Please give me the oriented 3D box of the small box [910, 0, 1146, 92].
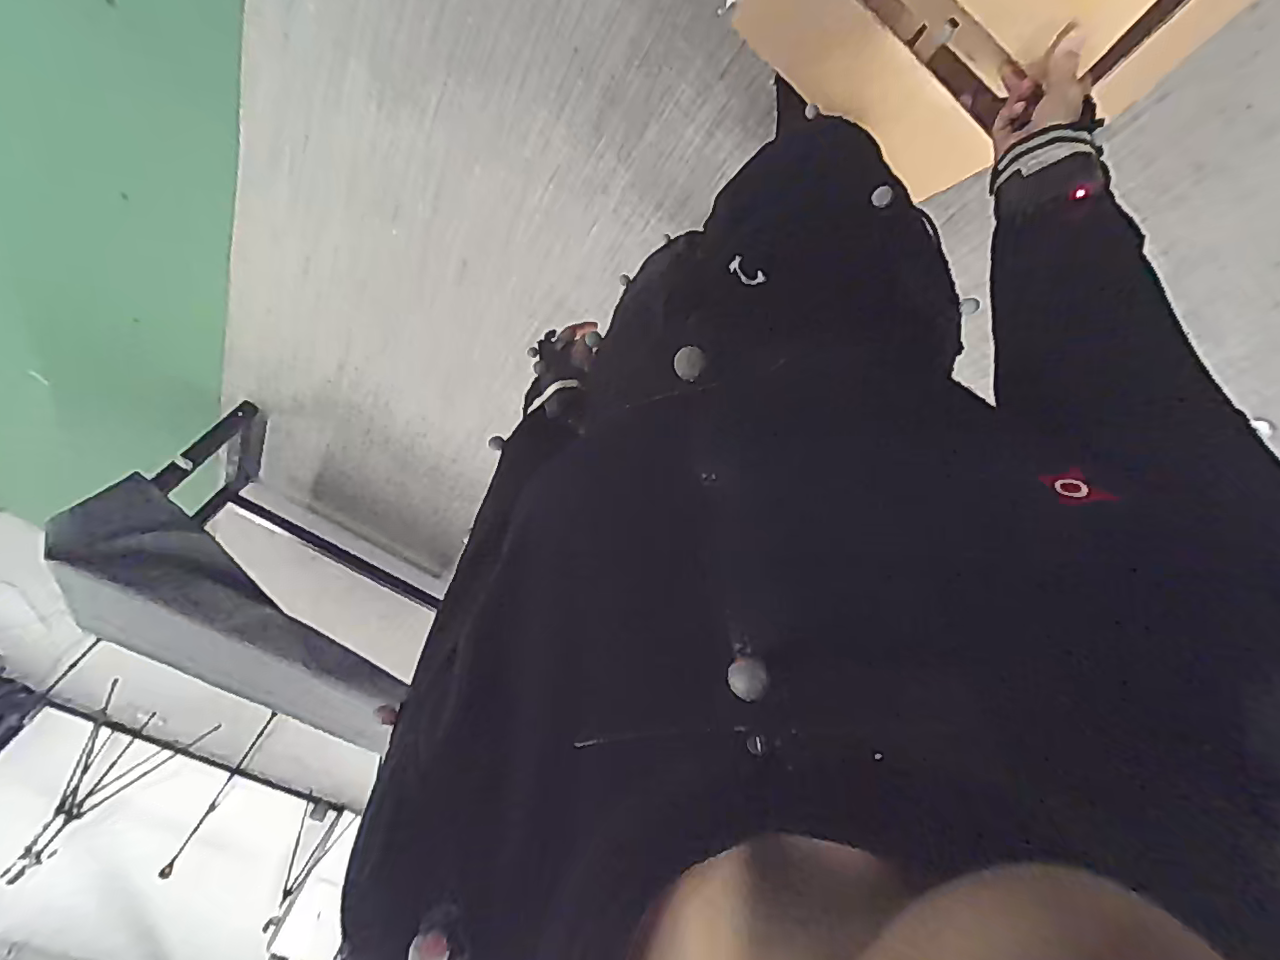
[{"bbox_3d":[0.352,-0.468,0.458,0.168,0.176,0.179,35,126,-9],"label":"small box"}]
